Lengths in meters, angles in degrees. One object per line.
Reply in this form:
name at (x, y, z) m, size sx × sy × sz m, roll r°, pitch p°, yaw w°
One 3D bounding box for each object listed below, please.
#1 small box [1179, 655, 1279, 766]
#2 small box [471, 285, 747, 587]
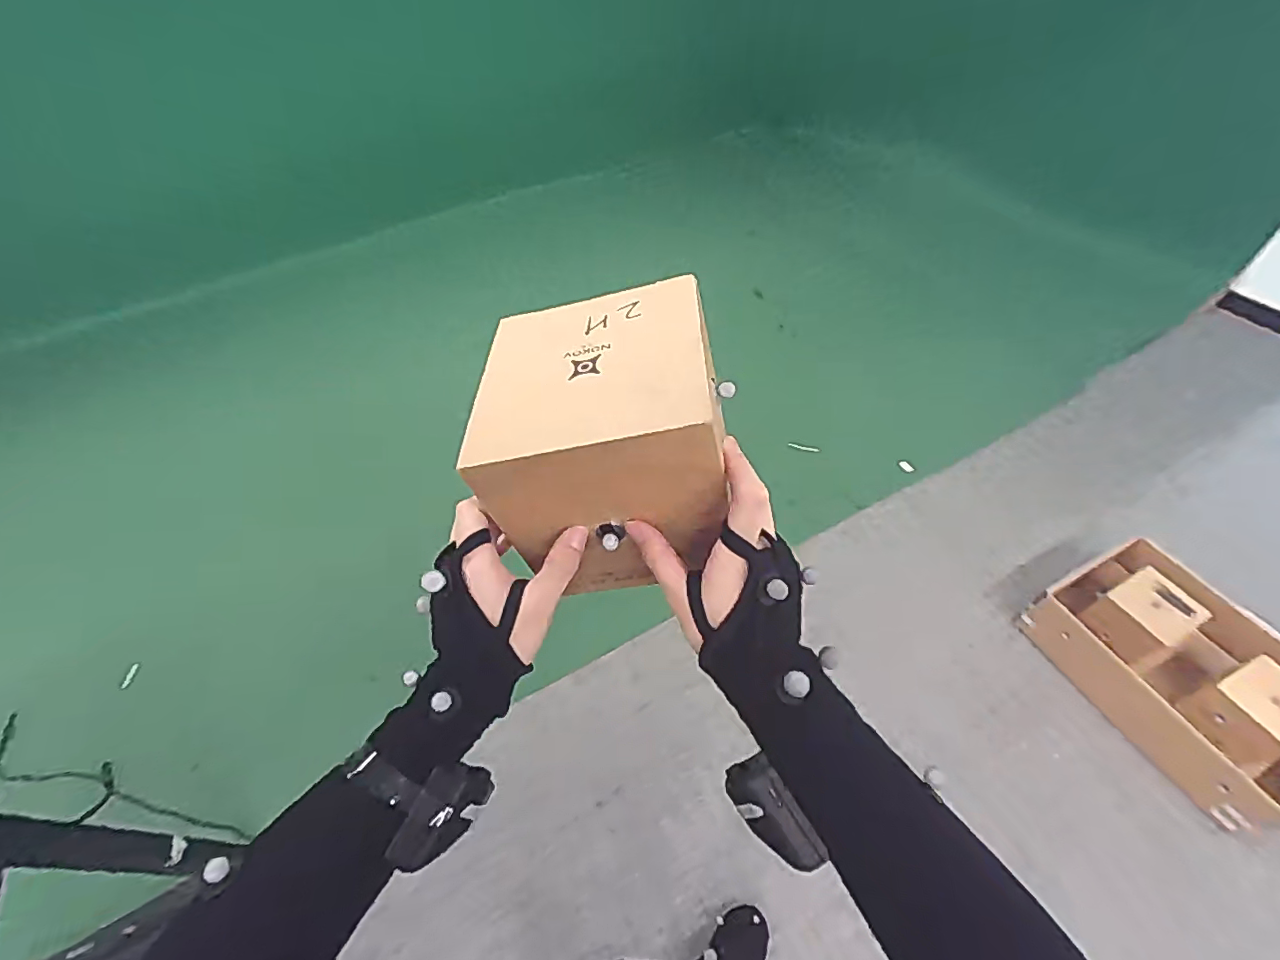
small box at (1.480, 0.563, 1.310) m, size 0.179 × 0.176 × 0.168 m, roll -23°, pitch 53°, yaw -12°
small box at (-0.009, -0.025, 0.443) m, size 0.168 × 0.176 × 0.179 m, roll -9°, pitch 47°, yaw 11°
